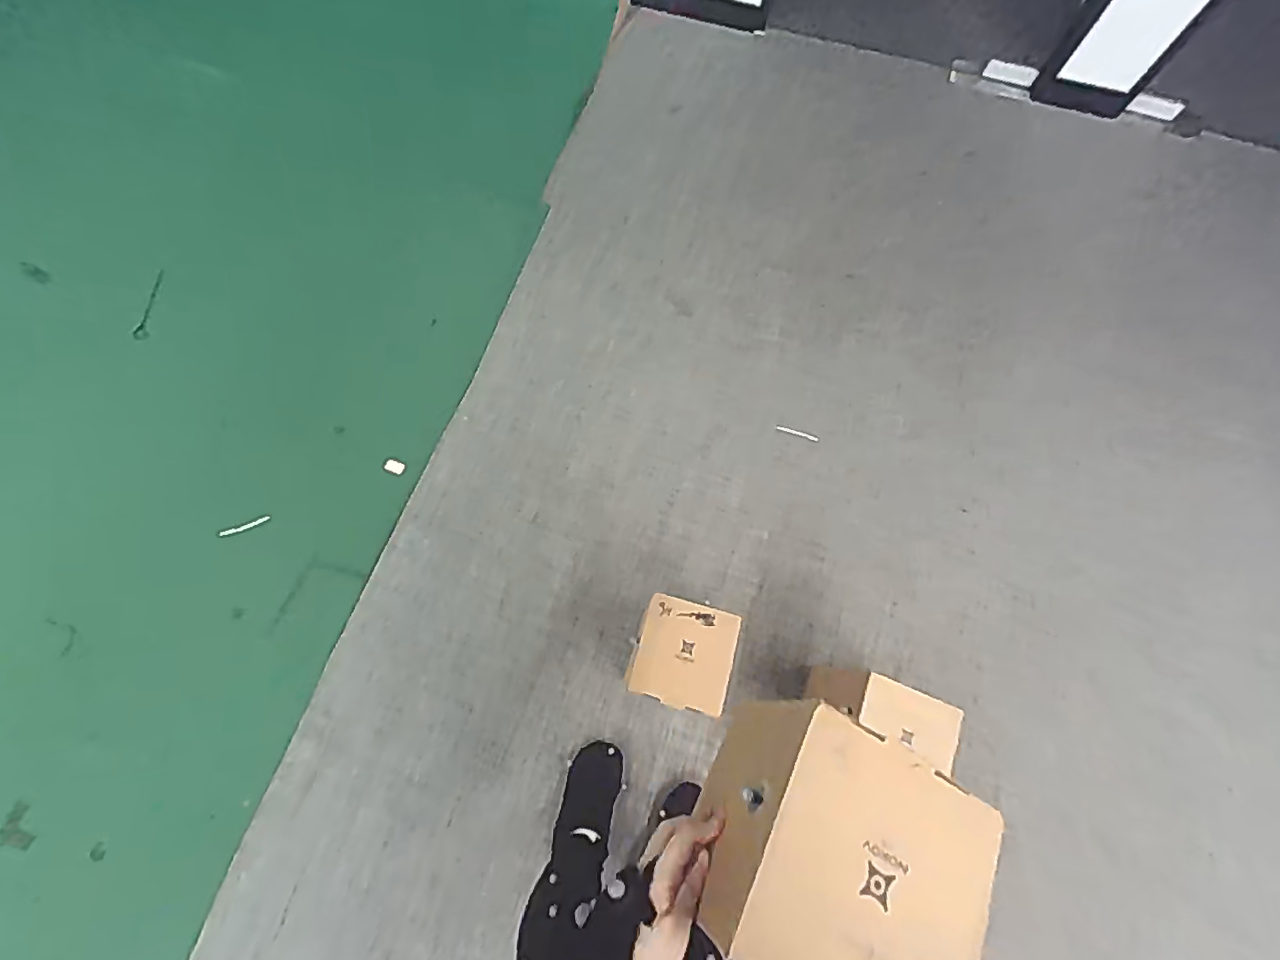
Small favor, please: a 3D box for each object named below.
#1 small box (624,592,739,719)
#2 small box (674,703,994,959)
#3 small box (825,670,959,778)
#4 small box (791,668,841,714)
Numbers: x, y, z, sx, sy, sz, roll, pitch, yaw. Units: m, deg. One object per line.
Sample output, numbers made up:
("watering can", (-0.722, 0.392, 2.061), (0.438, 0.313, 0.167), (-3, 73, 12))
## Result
("small box", (0.074, 0.323, 1.010), (0.168, 0.176, 0.179), (16, 73, 3))
("small box", (0.147, 0.309, 0.453), (0.168, 0.176, 0.179), (31, 65, 1))
("small box", (0.434, 0.459, 0.979), (0.168, 0.176, 0.179), (22, 73, 6))
("small box", (0.426, 0.510, 1.136), (0.168, 0.176, 0.179), (24, 74, 6))
